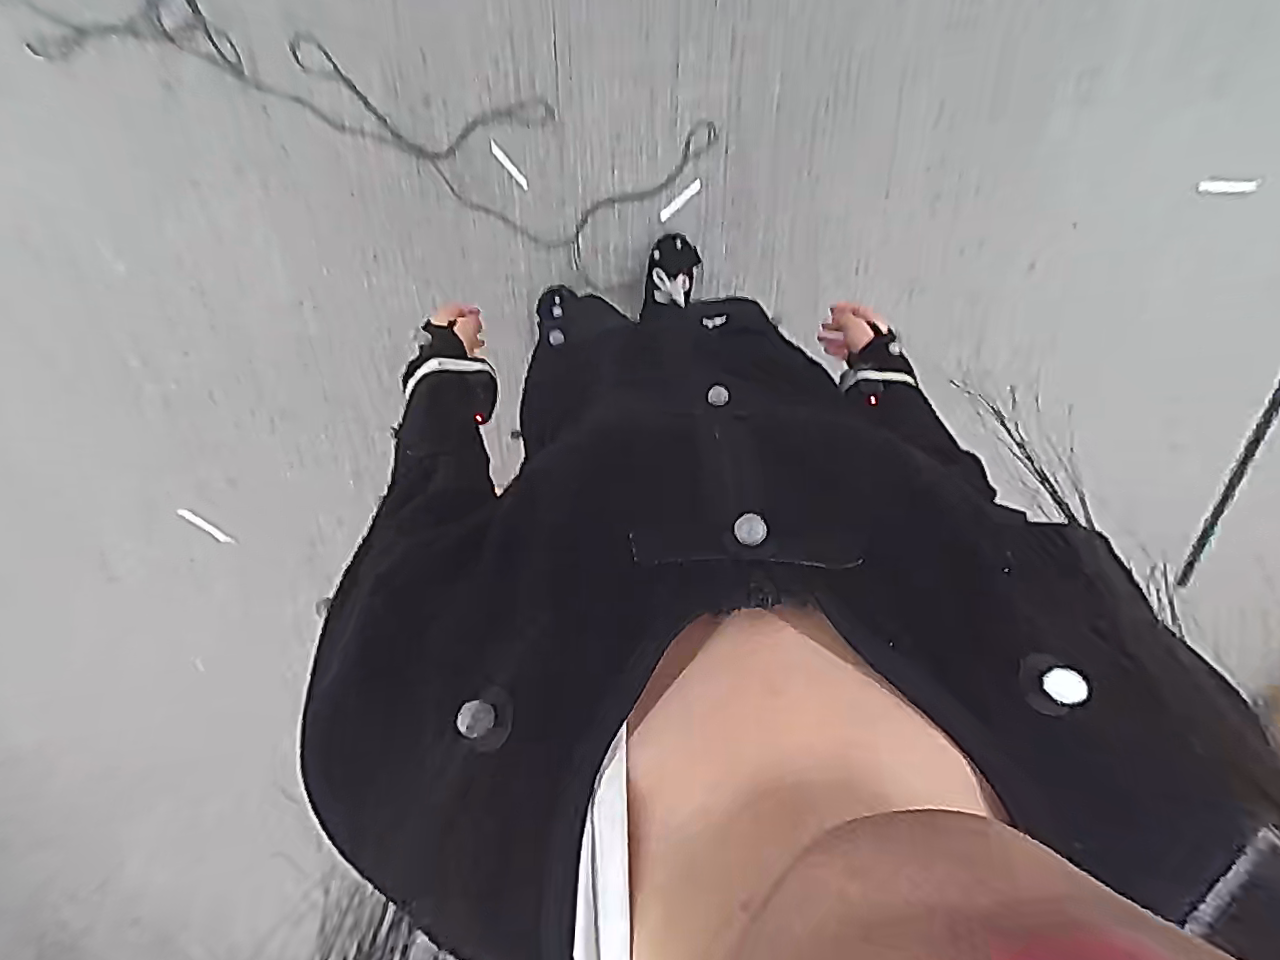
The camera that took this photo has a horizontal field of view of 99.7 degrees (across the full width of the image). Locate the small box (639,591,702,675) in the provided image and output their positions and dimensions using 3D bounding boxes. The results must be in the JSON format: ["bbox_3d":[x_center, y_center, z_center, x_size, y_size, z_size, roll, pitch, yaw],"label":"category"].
[{"bbox_3d":[0.092,0.474,1.692,0.168,0.176,0.179,-10,115,-1],"label":"small box"}]
